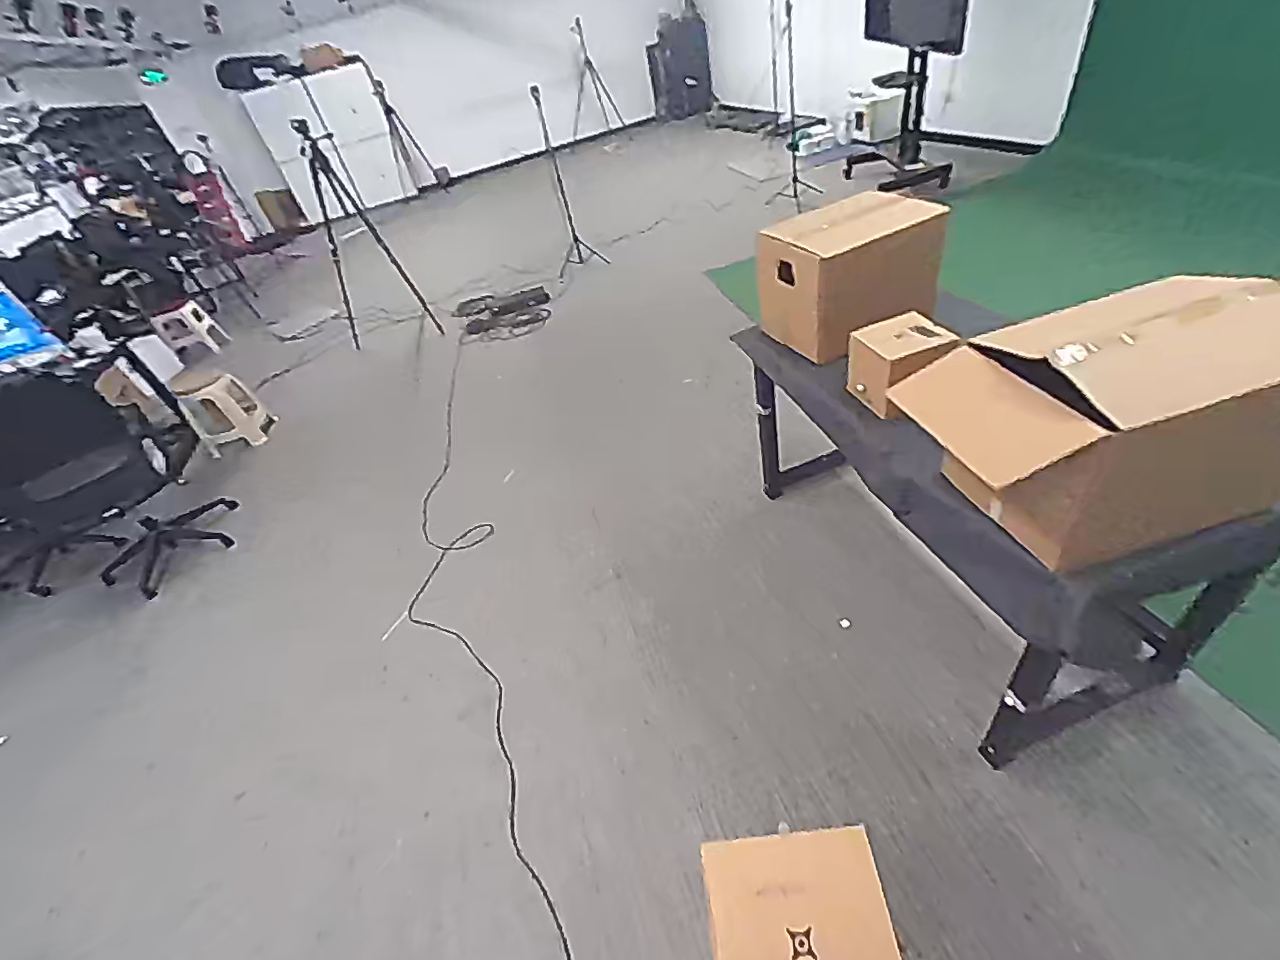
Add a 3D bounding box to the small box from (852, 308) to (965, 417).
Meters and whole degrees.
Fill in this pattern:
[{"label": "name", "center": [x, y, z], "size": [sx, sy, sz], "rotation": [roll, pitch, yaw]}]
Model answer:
[{"label": "small box", "center": [0.627, -0.279, 1.288], "size": [0.179, 0.176, 0.168], "rotation": [-19, 41, -3]}]
